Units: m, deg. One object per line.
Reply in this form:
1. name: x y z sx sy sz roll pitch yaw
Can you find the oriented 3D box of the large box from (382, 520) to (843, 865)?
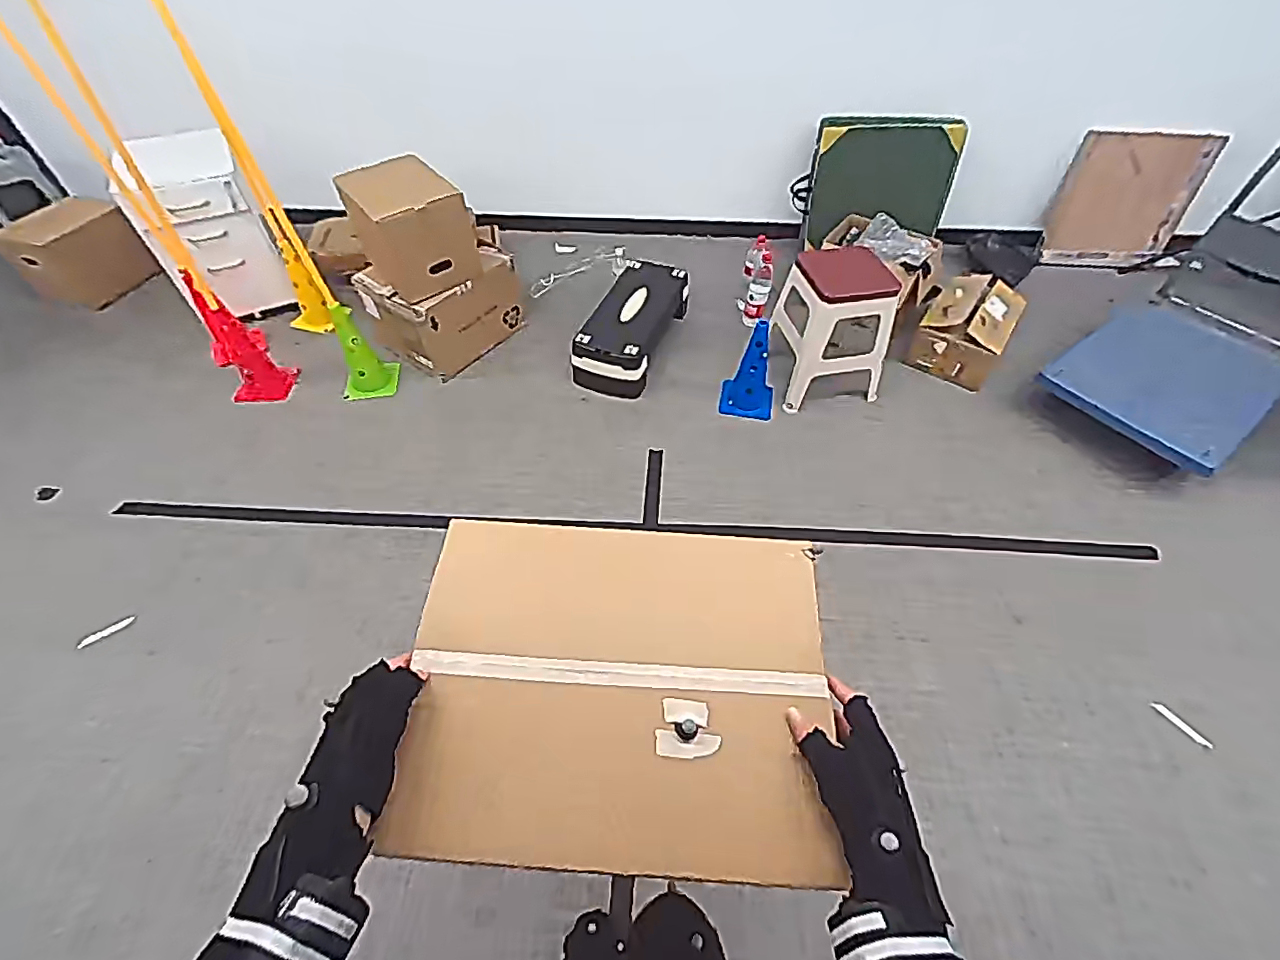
1. large box: -0.022 0.265 0.662 0.408 0.320 0.320 4 58 0
